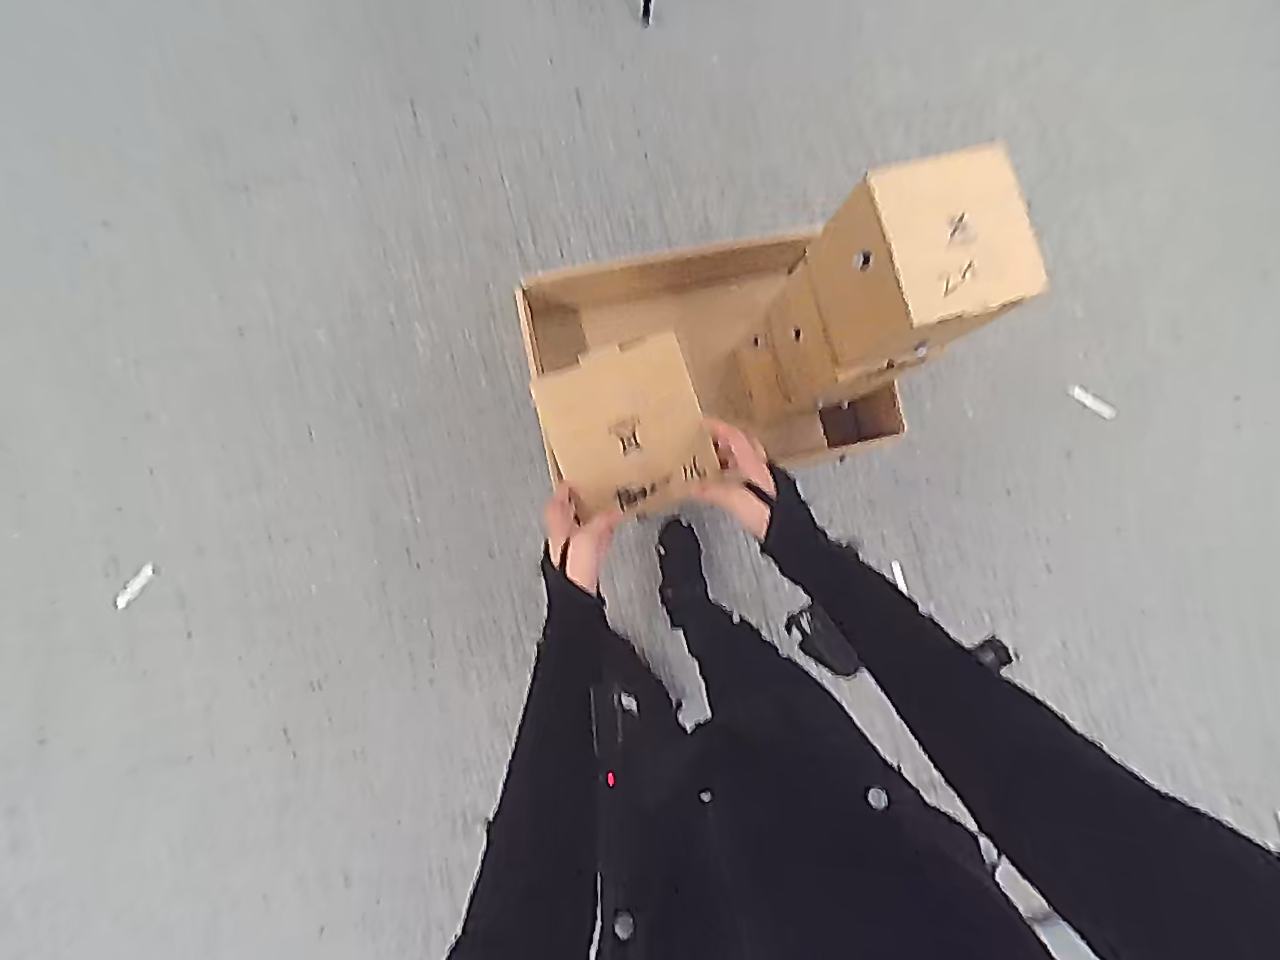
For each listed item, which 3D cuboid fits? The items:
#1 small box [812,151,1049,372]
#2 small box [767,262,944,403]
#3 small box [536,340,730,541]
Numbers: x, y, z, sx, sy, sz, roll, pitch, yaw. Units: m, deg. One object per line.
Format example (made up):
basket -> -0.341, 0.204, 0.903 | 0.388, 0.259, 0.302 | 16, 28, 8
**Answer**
small box -> 0.331, -0.251, 0.655 | 0.168, 0.176, 0.179 | -15, 88, -6
small box -> 0.312, -0.223, 0.817 | 0.168, 0.176, 0.179 | -15, 86, -6
small box -> -0.006, -0.048, 0.648 | 0.168, 0.176, 0.179 | -19, 96, 4
